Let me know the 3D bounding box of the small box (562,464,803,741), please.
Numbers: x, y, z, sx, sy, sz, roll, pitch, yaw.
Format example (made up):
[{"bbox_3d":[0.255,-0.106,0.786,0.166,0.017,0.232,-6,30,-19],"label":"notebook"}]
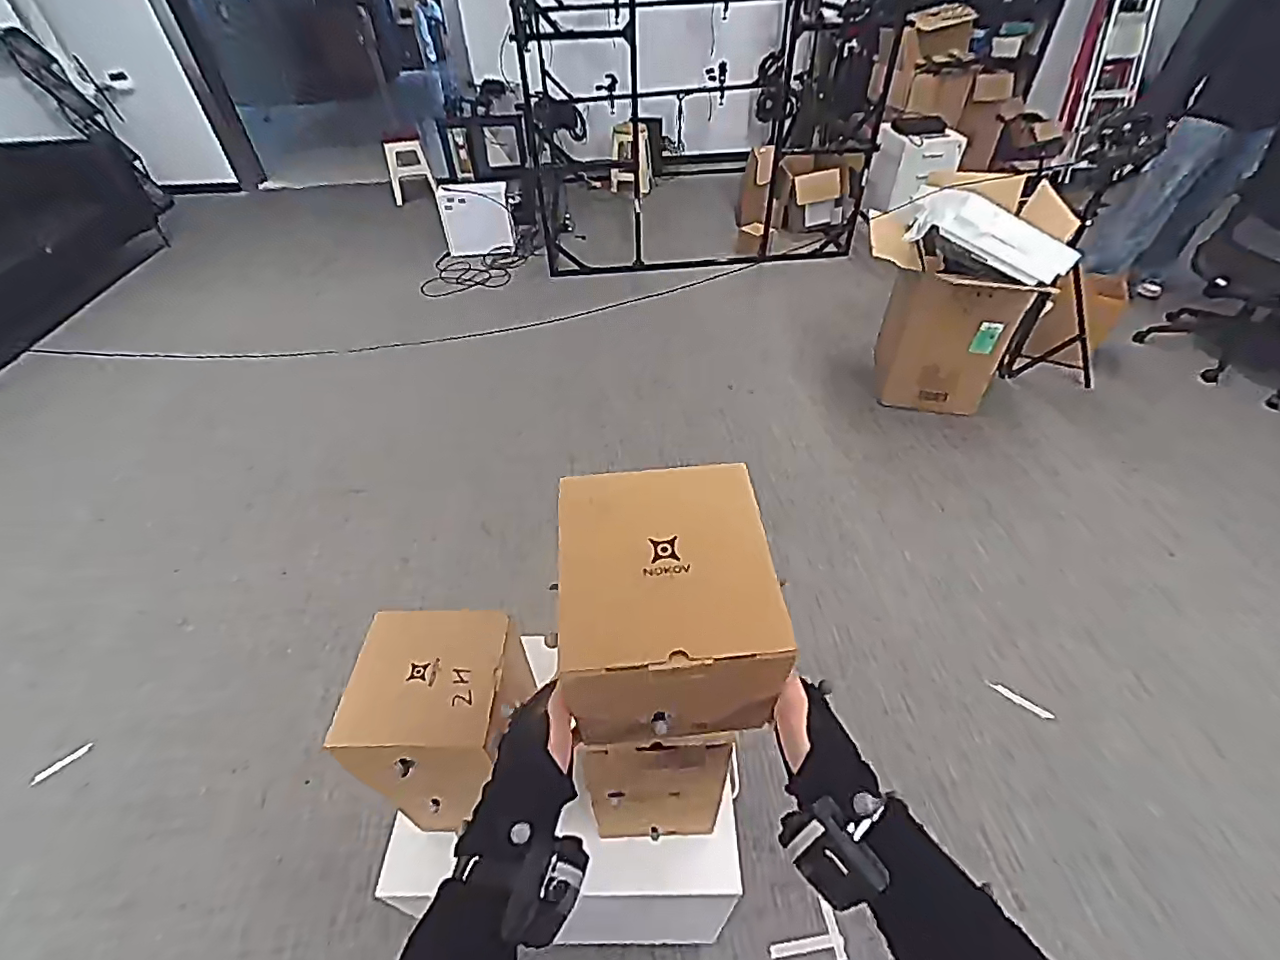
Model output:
[{"bbox_3d":[0.022,0.109,0.475,0.168,0.176,0.179,-5,51,-3],"label":"small box"}]

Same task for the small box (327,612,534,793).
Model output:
[{"bbox_3d":[-0.244,0.282,0.682,0.179,0.176,0.168,-1,45,1],"label":"small box"}]

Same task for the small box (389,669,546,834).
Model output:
[{"bbox_3d":[-0.239,0.398,0.800,0.168,0.176,0.179,-1,43,2],"label":"small box"}]

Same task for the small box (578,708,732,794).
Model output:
[{"bbox_3d":[0.018,0.278,0.678,0.168,0.176,0.179,-2,44,0],"label":"small box"}]
